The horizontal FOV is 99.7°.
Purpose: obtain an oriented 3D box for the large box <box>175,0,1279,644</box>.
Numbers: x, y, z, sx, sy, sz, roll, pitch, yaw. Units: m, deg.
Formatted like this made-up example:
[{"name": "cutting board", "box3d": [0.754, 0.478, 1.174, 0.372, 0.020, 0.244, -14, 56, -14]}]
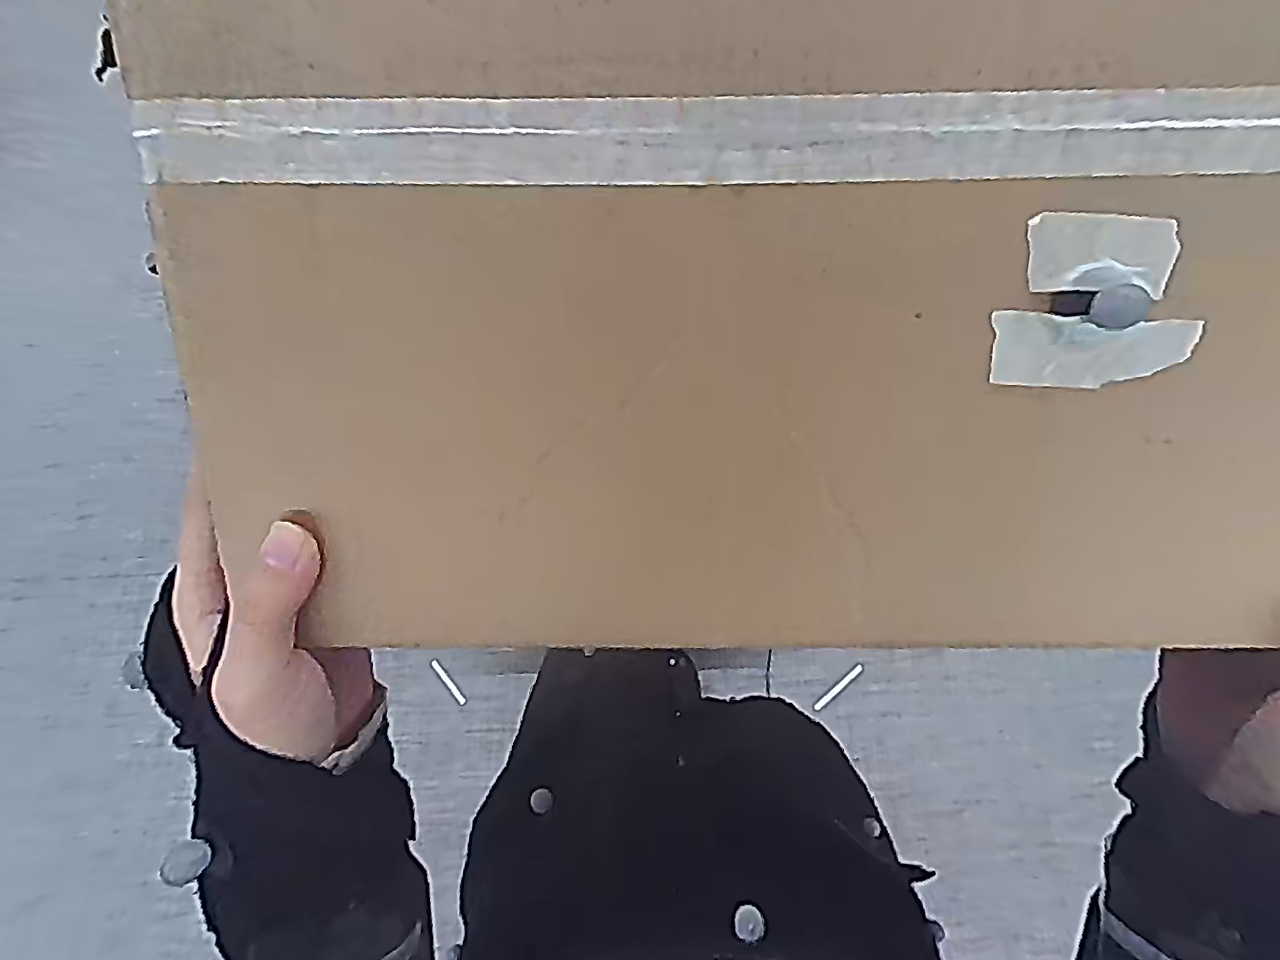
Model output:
[{"name": "large box", "box3d": [0.062, -0.126, 0.310, 0.408, 0.320, 0.320, -1, 103, 0]}]
